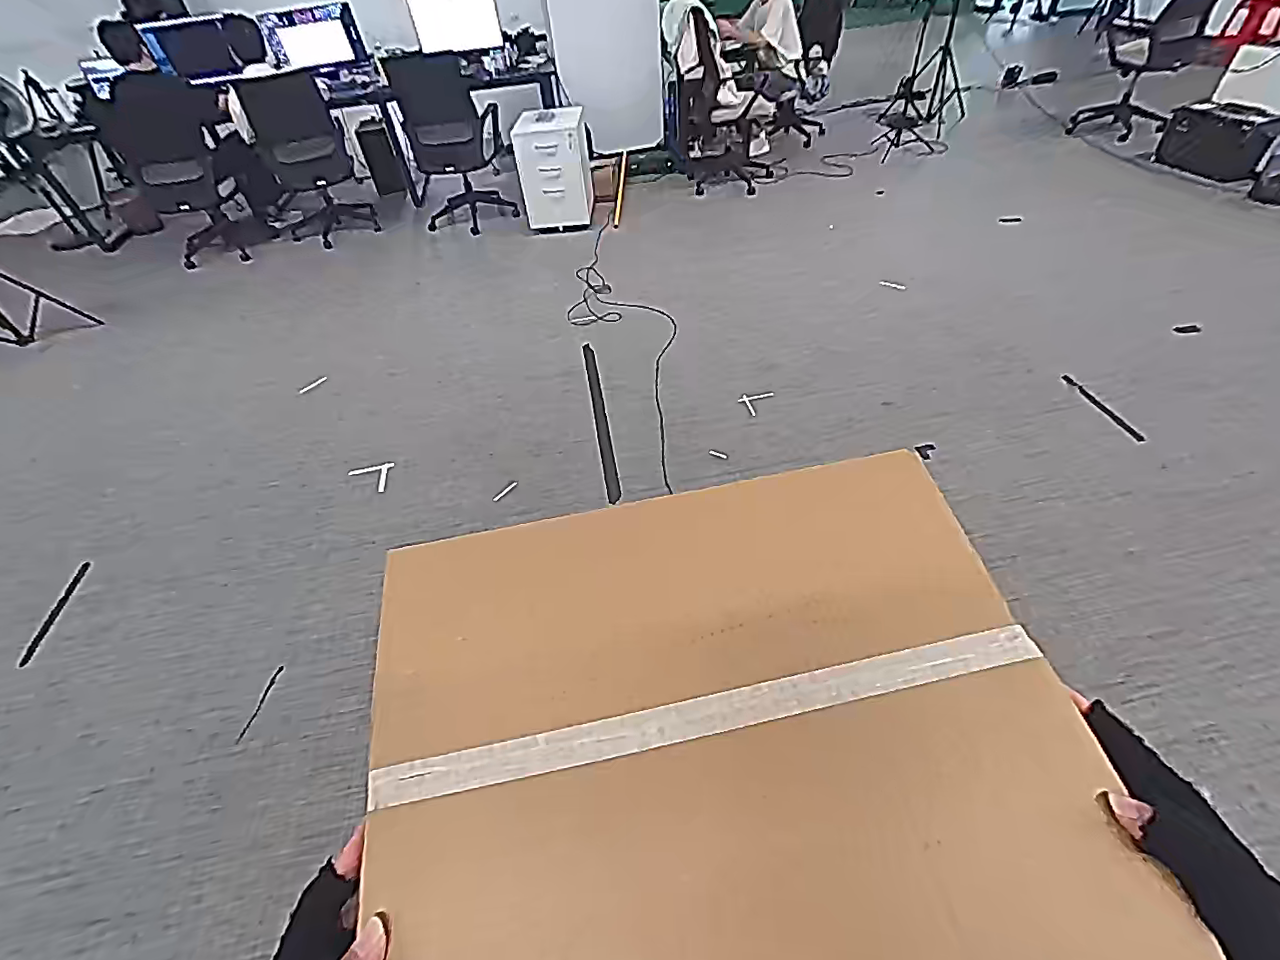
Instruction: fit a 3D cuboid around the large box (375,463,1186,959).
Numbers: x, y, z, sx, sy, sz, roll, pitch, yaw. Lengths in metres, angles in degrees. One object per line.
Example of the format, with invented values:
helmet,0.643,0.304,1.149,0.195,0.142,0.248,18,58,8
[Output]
large box,0.054,0.232,0.452,0.408,0.320,0.320,-12,55,-3
